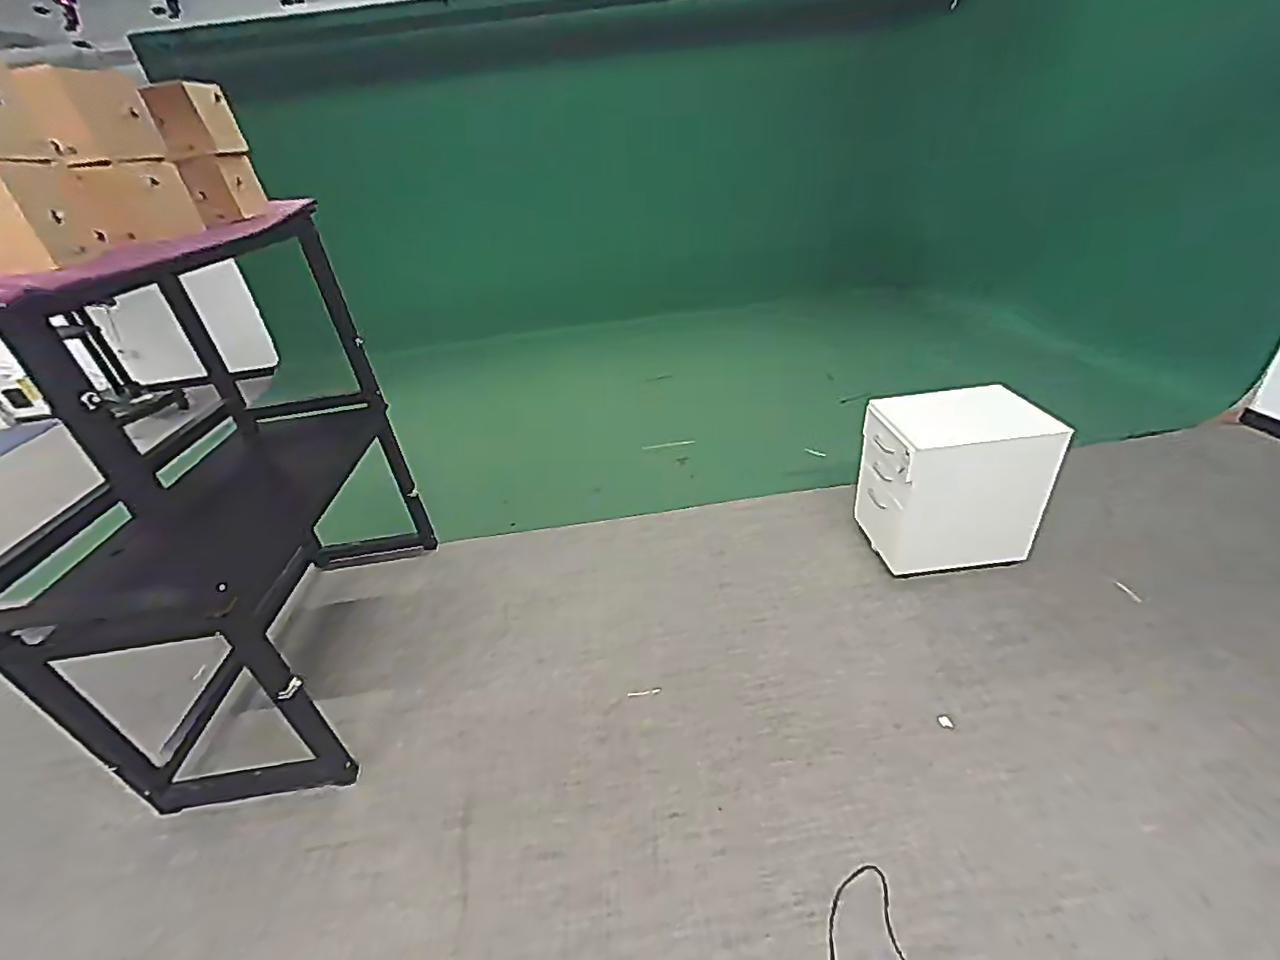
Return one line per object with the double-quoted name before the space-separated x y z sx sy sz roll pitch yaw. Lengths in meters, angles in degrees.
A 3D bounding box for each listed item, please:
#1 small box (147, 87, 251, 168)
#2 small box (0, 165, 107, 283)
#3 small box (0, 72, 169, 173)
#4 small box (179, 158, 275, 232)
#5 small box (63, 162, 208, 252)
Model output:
"small box" -1.244 -0.981 1.517 0.168 0.176 0.179 -10 33 0
"small box" -1.111 -0.448 0.948 0.179 0.176 0.168 -14 31 -12
"small box" -1.204 -0.781 1.195 0.168 0.176 0.179 -3 33 8
"small box" -1.234 -0.844 1.605 0.168 0.176 0.179 -9 34 0
"small box" -1.188 -0.646 1.284 0.168 0.176 0.179 -7 31 -1
